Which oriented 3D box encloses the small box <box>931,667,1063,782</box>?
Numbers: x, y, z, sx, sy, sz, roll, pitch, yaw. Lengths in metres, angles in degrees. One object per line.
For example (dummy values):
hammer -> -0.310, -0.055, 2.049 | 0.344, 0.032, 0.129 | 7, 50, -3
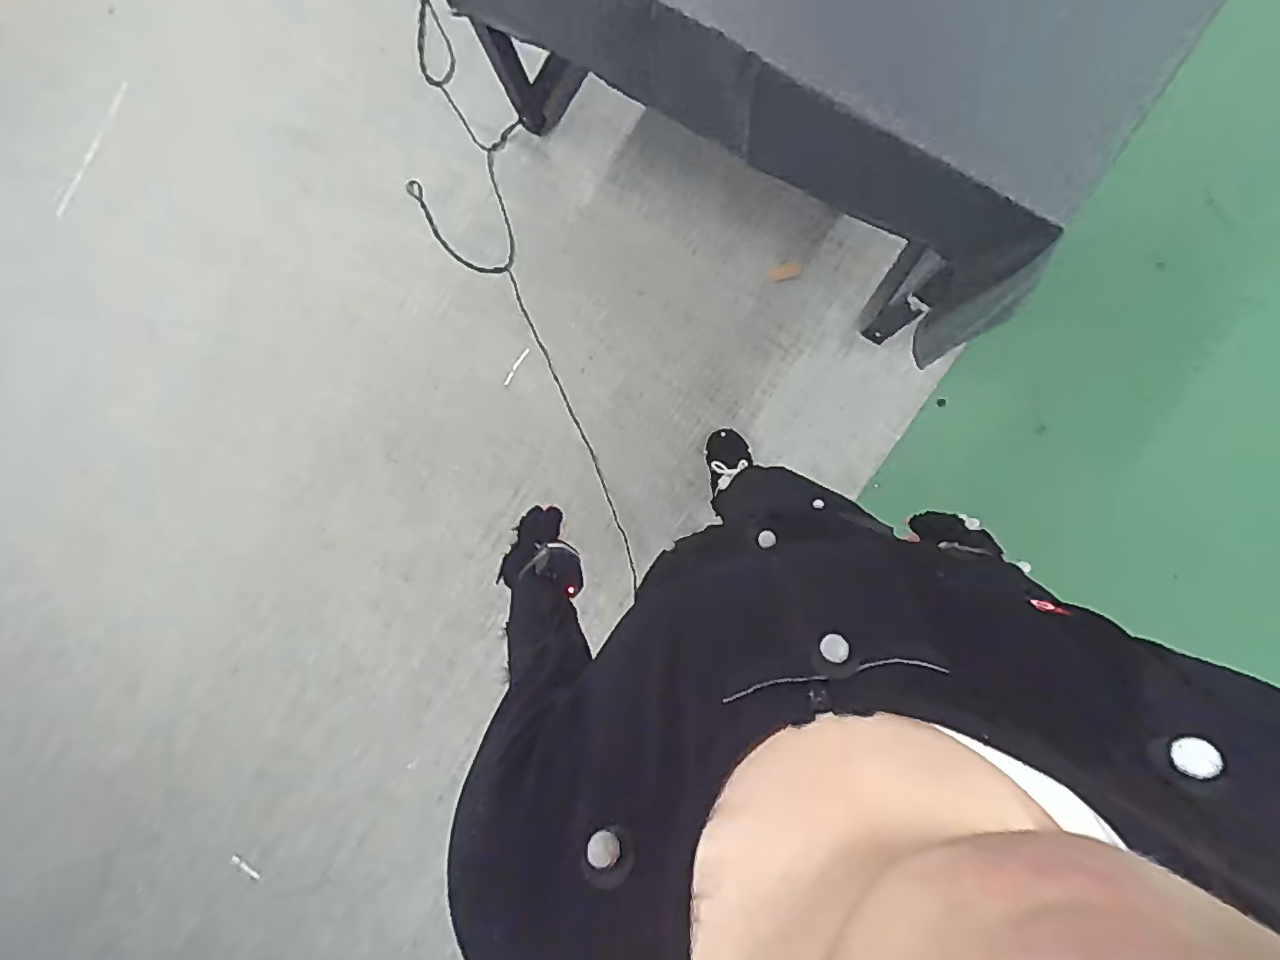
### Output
small box -> 0.866, 0.588, 1.334 | 0.179, 0.176, 0.168 | 39, 94, 4
